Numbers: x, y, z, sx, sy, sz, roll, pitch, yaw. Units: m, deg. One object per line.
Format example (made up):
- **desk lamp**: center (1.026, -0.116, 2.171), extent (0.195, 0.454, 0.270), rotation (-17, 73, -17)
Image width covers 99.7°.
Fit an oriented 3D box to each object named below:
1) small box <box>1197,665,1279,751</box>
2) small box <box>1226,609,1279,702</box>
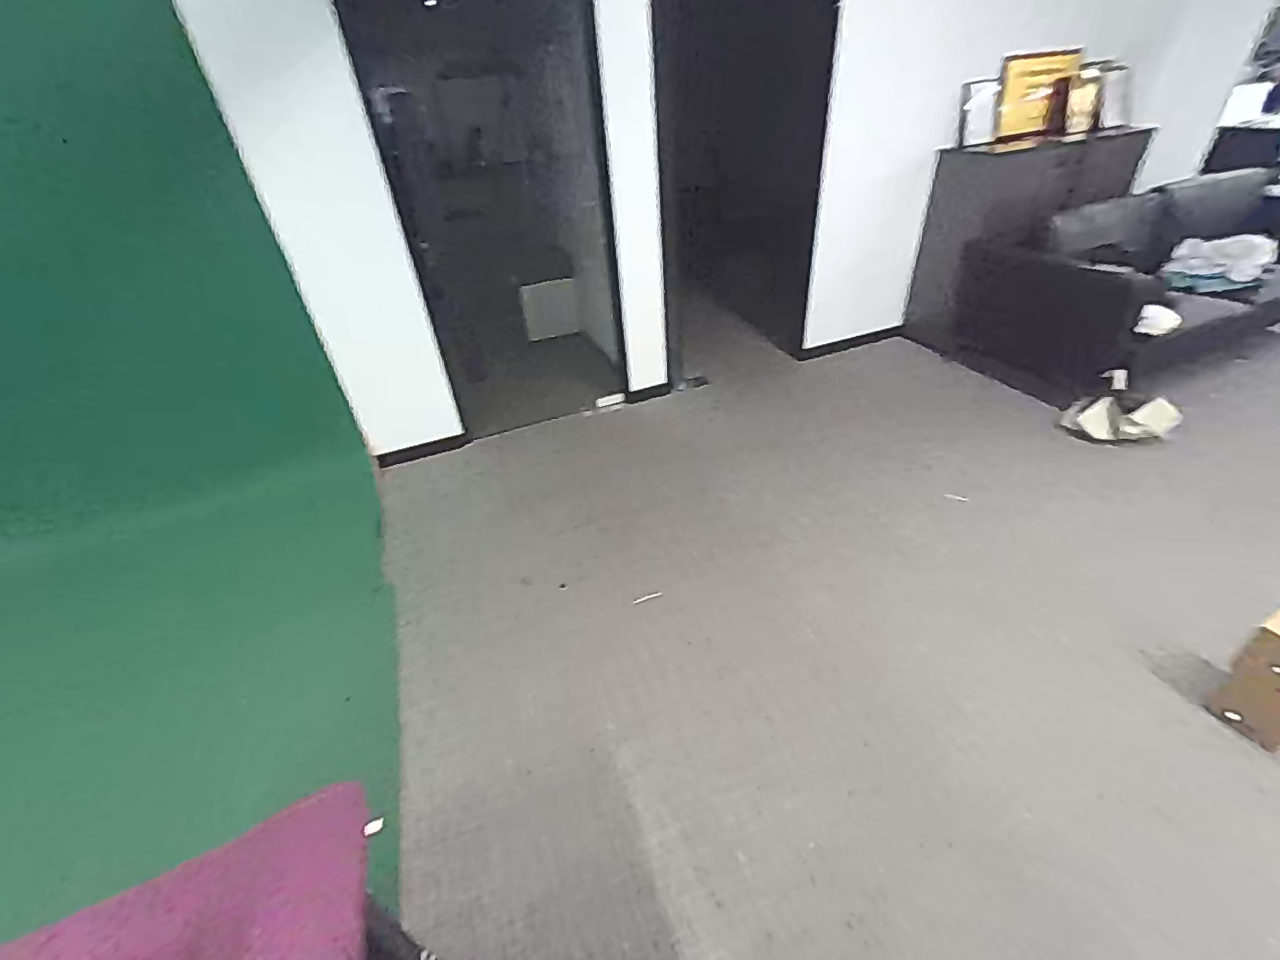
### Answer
- **small box**: center (1.670, 0.582, 1.448), extent (0.179, 0.176, 0.168), rotation (-18, 37, -17)
- **small box**: center (1.650, 0.445, 1.360), extent (0.179, 0.176, 0.168), rotation (-18, 38, -17)
